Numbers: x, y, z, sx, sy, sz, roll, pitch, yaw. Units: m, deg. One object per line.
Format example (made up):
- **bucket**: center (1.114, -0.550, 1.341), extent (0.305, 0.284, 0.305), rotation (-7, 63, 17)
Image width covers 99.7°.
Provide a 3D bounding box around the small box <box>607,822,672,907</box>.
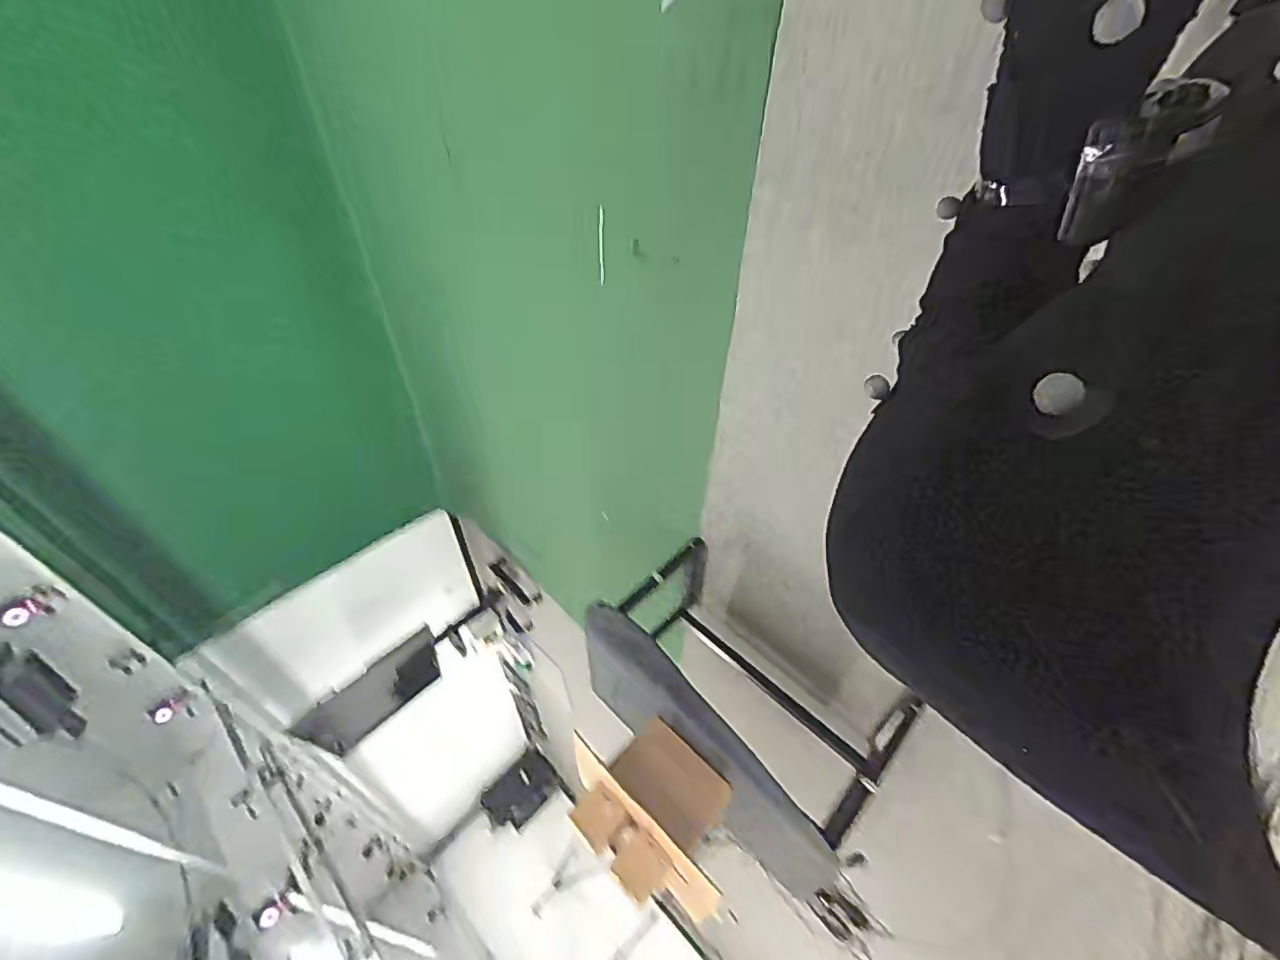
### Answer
- **small box**: center (-0.002, 1.349, 1.905), extent (0.168, 0.176, 0.179), rotation (36, 144, 29)
